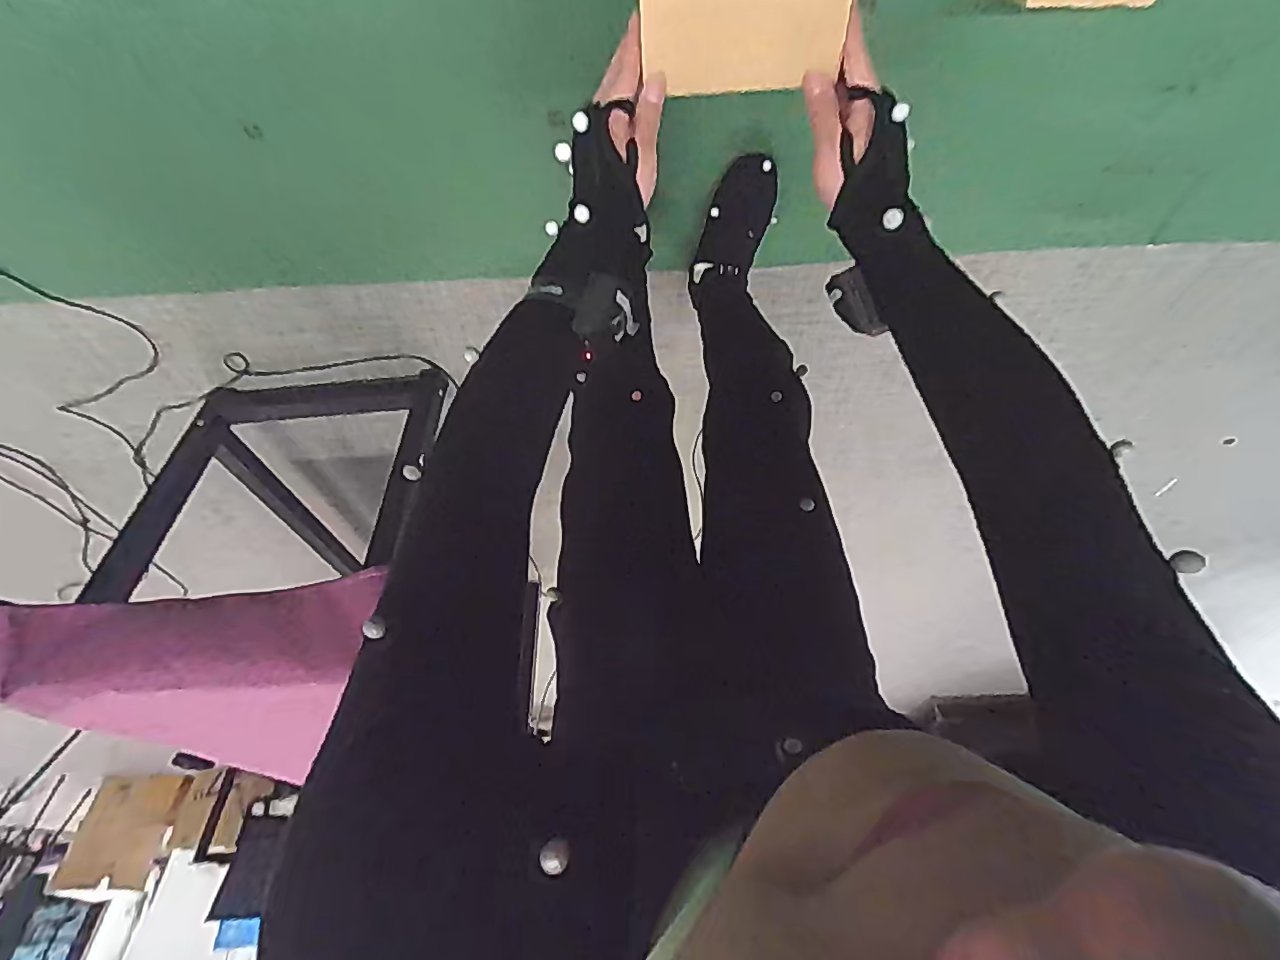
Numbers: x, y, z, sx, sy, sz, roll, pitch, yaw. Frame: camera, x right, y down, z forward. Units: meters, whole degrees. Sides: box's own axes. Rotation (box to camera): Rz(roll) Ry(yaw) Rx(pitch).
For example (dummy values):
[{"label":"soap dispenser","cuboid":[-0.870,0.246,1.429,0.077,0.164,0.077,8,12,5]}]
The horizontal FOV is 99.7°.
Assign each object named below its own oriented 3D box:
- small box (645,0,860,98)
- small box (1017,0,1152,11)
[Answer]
[{"label":"small box","cuboid":[0.086,-0.442,0.445,0.168,0.176,0.179,-2,136,2]},{"label":"small box","cuboid":[0.552,-0.705,0.659,0.168,0.176,0.179,-2,142,-2]}]
